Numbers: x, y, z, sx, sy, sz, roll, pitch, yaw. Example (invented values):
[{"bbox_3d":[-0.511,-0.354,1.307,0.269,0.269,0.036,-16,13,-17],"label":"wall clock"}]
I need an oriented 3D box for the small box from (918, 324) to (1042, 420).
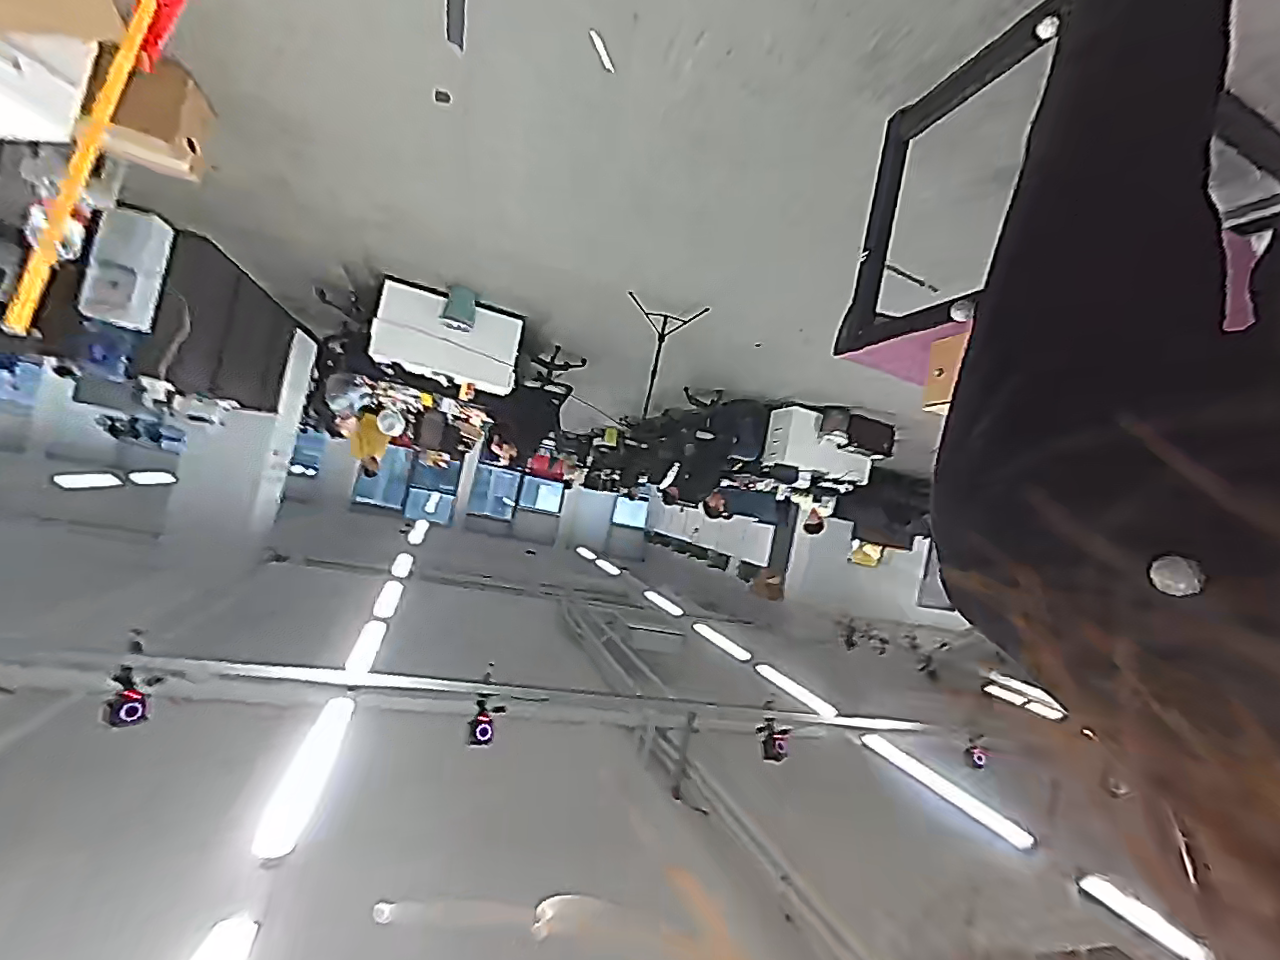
[{"bbox_3d":[0.801,-0.248,1.275,0.168,0.176,0.179,12,178,-16],"label":"small box"}]
